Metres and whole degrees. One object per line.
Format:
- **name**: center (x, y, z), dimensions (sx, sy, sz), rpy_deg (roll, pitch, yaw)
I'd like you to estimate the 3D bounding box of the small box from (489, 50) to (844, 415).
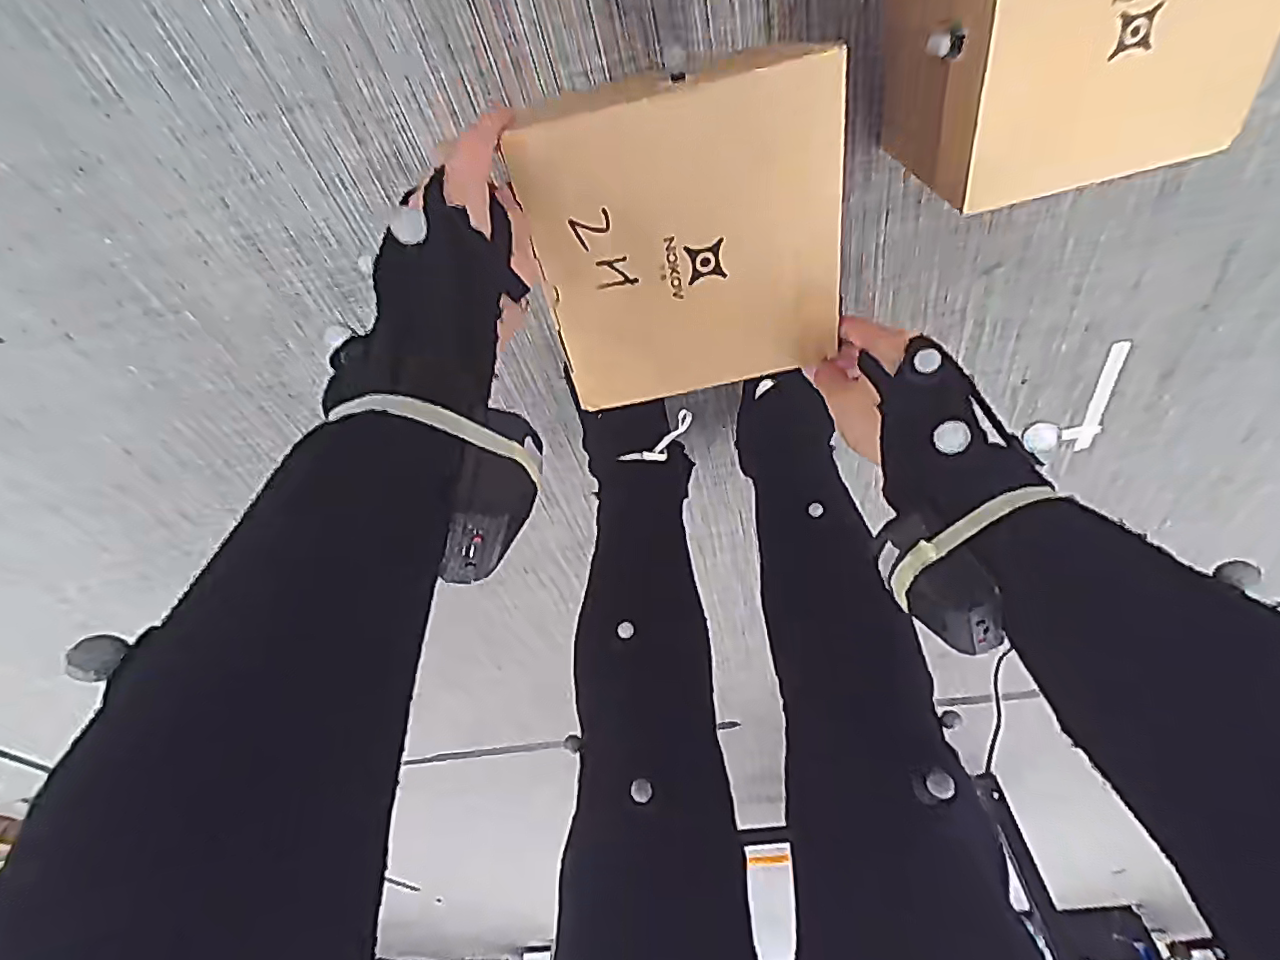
- **small box**: center (0.018, -0.171, 0.366), dimensions (0.179, 0.176, 0.168), rpy_deg (-12, 128, 4)
